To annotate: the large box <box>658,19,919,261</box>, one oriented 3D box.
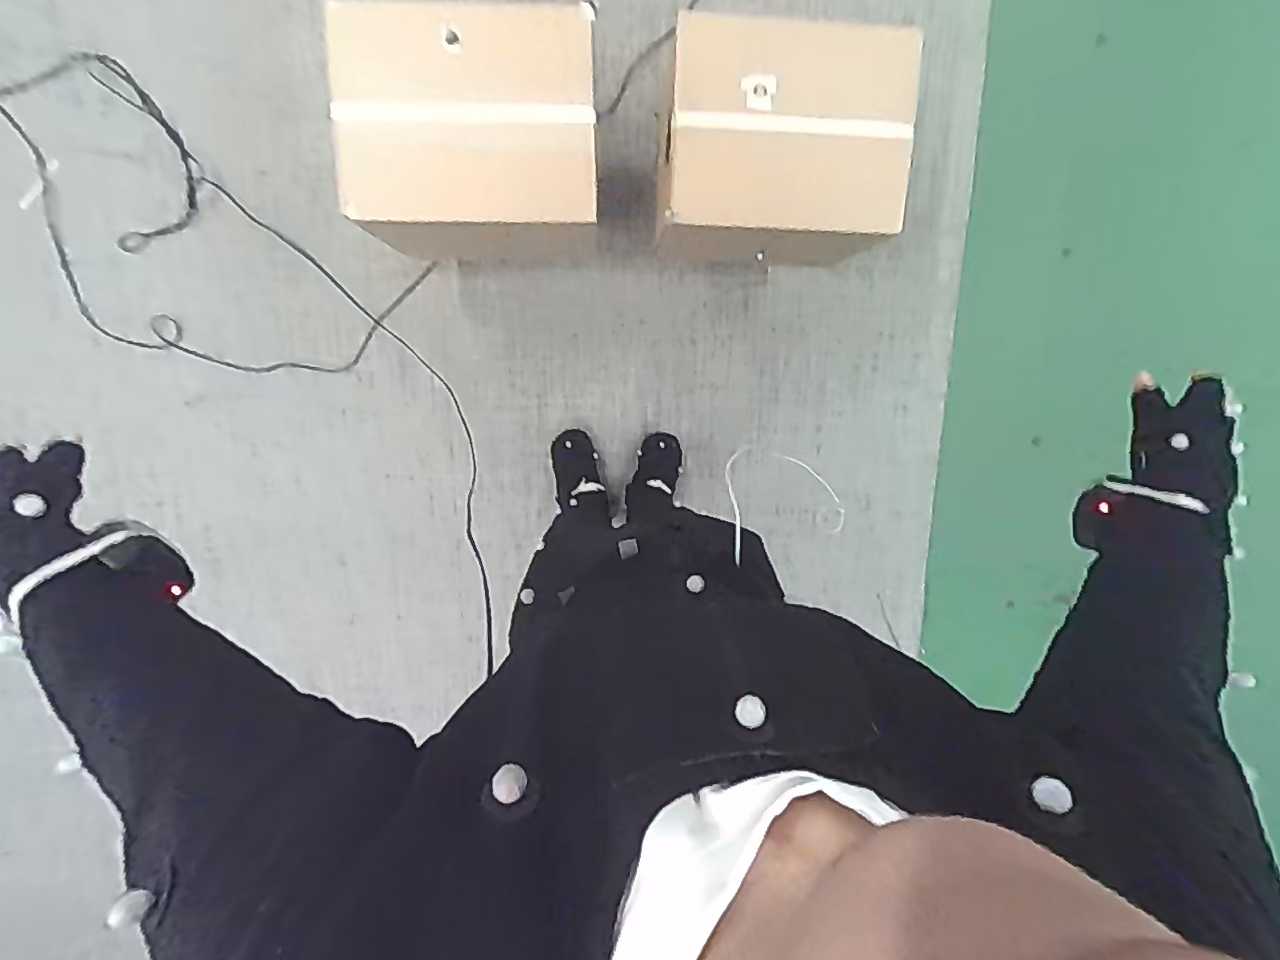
[{"bbox_3d":[0.252,-0.617,1.051,0.408,0.320,0.320,1,101,-4],"label":"large box"}]
